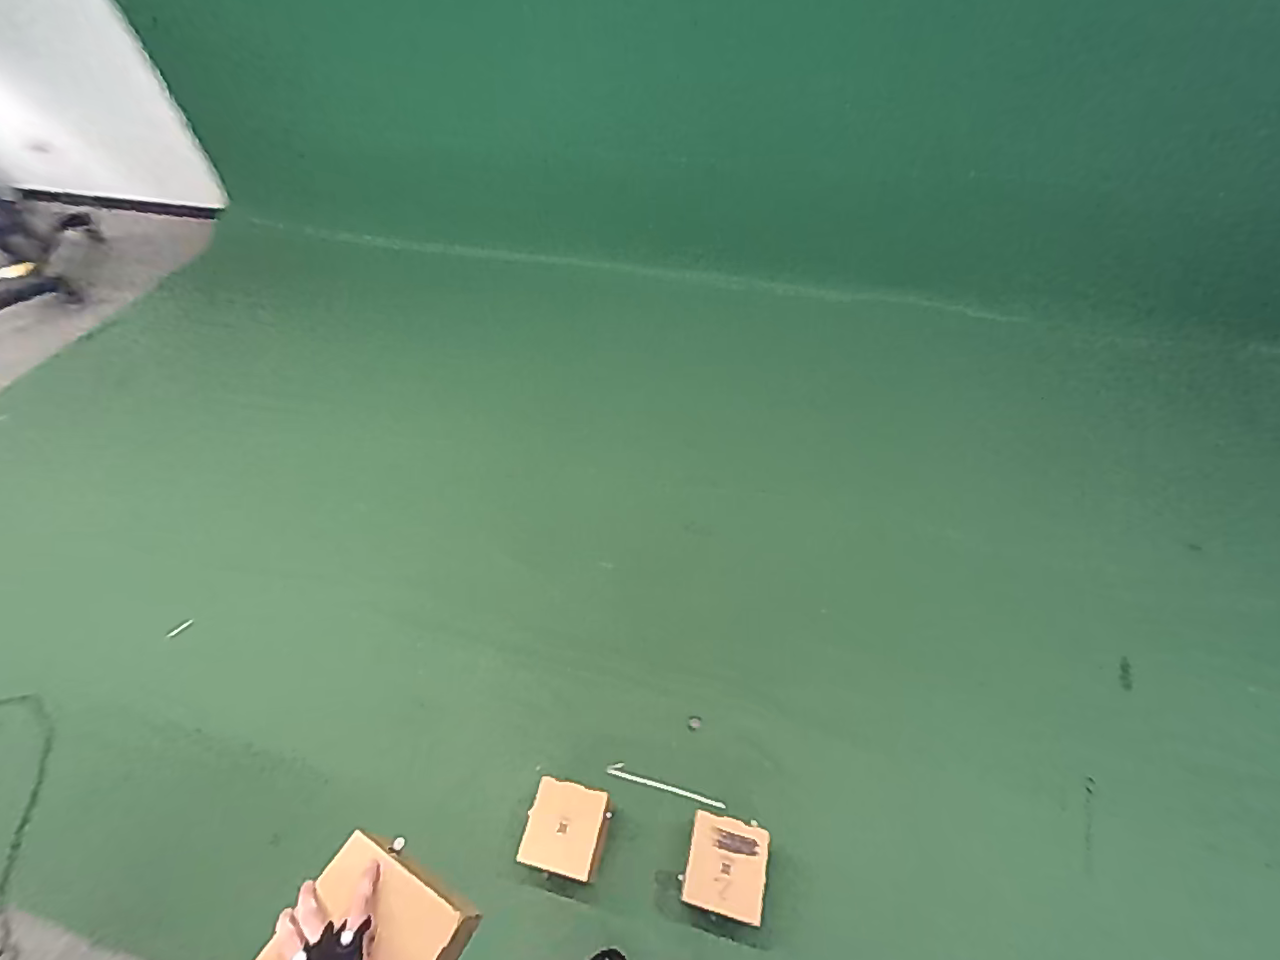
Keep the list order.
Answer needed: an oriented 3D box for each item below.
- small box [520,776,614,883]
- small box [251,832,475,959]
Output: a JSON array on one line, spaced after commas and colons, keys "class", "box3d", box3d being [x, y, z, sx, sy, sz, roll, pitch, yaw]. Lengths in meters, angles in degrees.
[{"class": "small box", "box3d": [-0.164, 0.840, 1.296, 0.168, 0.176, 0.179, 10, 52, 11]}, {"class": "small box", "box3d": [-0.333, 0.579, 0.671, 0.179, 0.176, 0.168, 26, 55, 14]}]
